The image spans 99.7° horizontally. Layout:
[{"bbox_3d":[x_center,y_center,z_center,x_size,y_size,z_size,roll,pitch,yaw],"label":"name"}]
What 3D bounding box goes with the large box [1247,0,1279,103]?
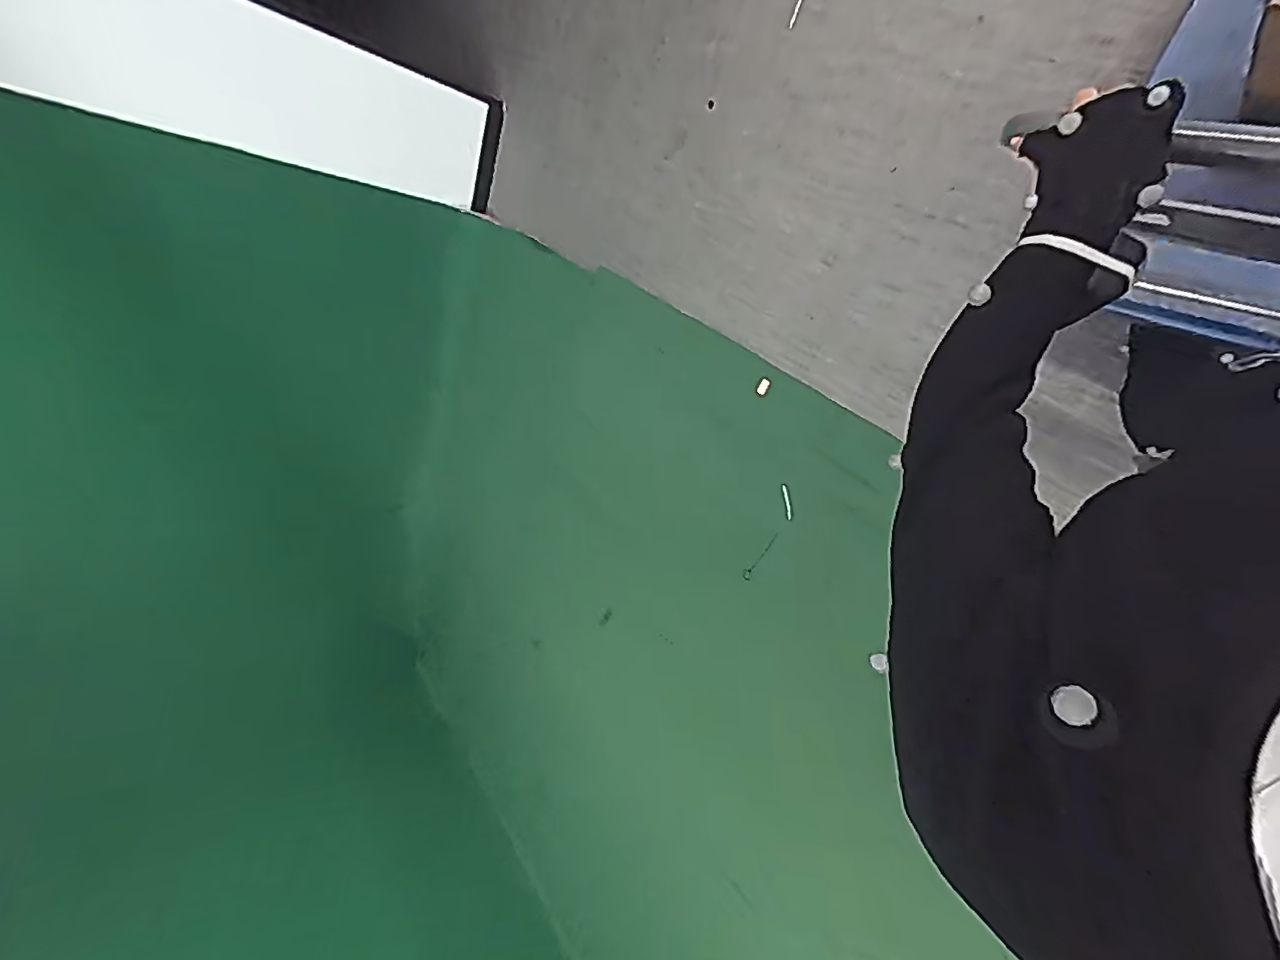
[{"bbox_3d":[1.018,-0.626,0.574,0.408,0.320,0.320,35,119,37],"label":"large box"}]
